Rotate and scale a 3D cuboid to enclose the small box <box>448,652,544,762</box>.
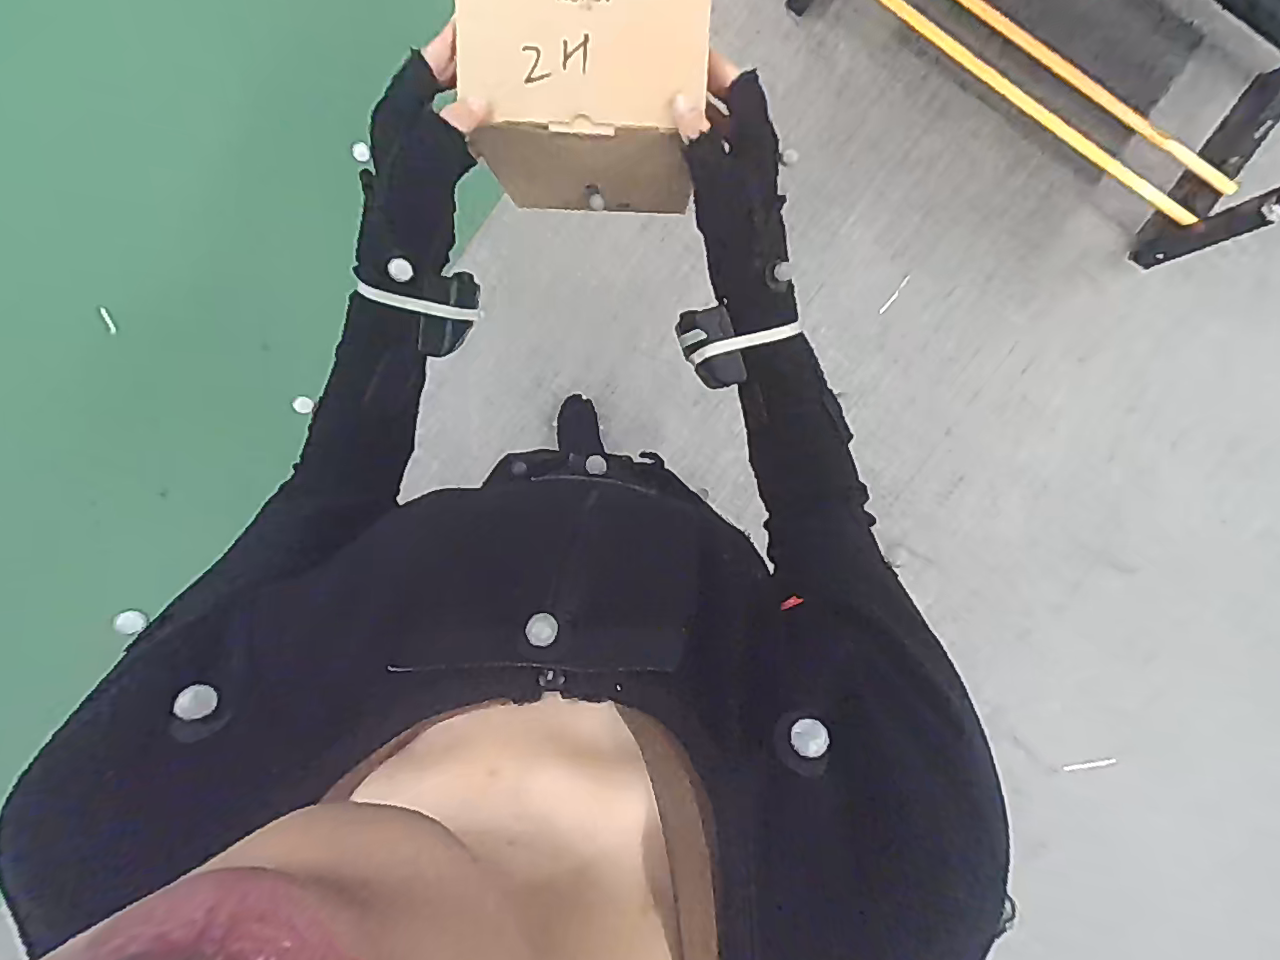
[{"bbox_3d":[-0.371,0.593,1.435,0.168,0.176,0.179,33,92,-3],"label":"small box"}]
